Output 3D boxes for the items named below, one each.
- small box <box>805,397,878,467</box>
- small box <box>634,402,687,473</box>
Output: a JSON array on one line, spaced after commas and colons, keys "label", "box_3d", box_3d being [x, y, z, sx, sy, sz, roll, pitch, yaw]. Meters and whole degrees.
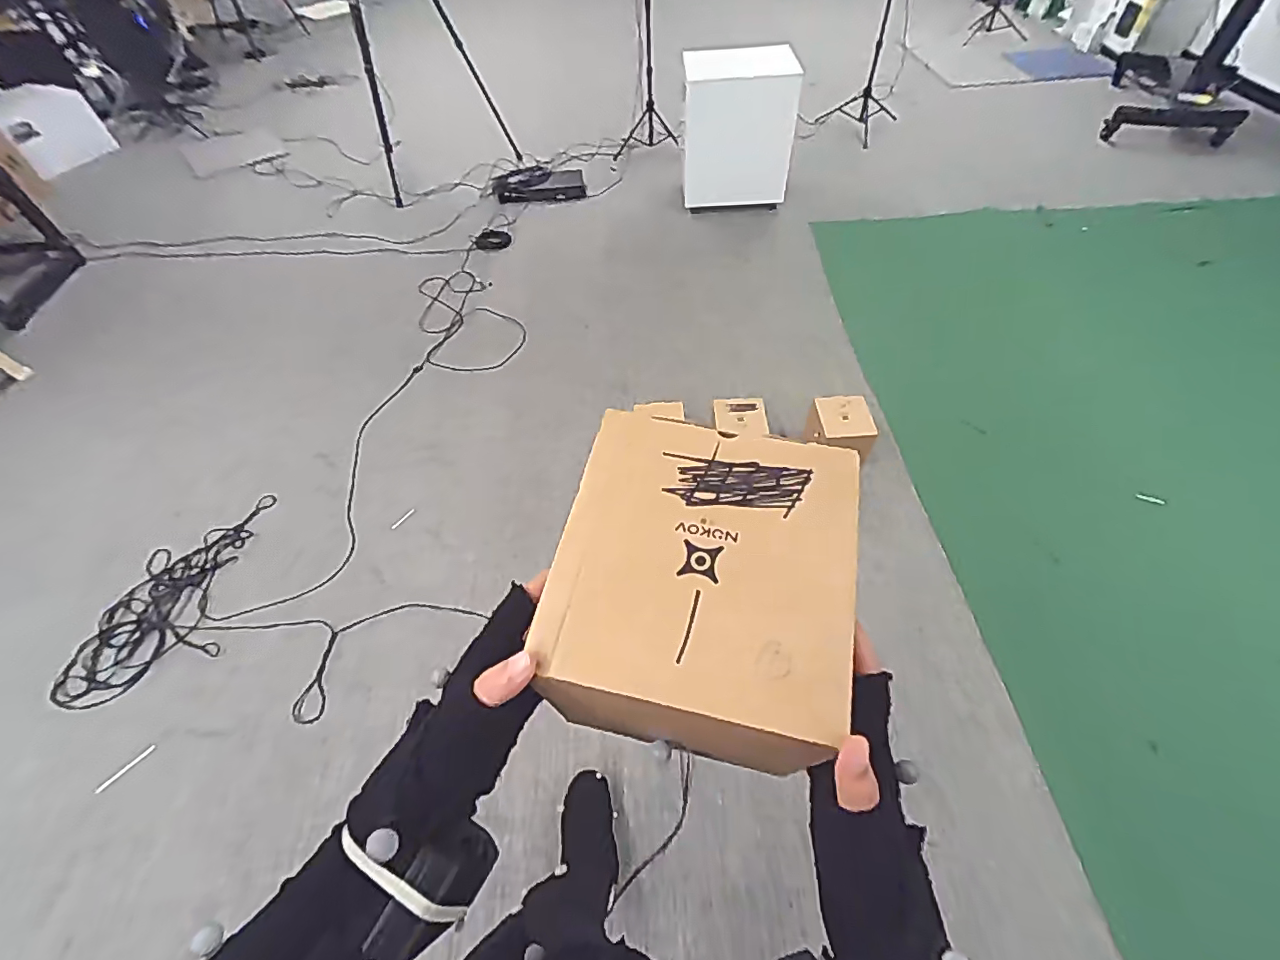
[{"label": "small box", "box_3d": [0.659, -0.152, 1.789, 0.168, 0.176, 0.179, -3, 53, 0]}, {"label": "small box", "box_3d": [0.070, -0.135, 1.807, 0.168, 0.176, 0.179, -4, 53, 1]}]
